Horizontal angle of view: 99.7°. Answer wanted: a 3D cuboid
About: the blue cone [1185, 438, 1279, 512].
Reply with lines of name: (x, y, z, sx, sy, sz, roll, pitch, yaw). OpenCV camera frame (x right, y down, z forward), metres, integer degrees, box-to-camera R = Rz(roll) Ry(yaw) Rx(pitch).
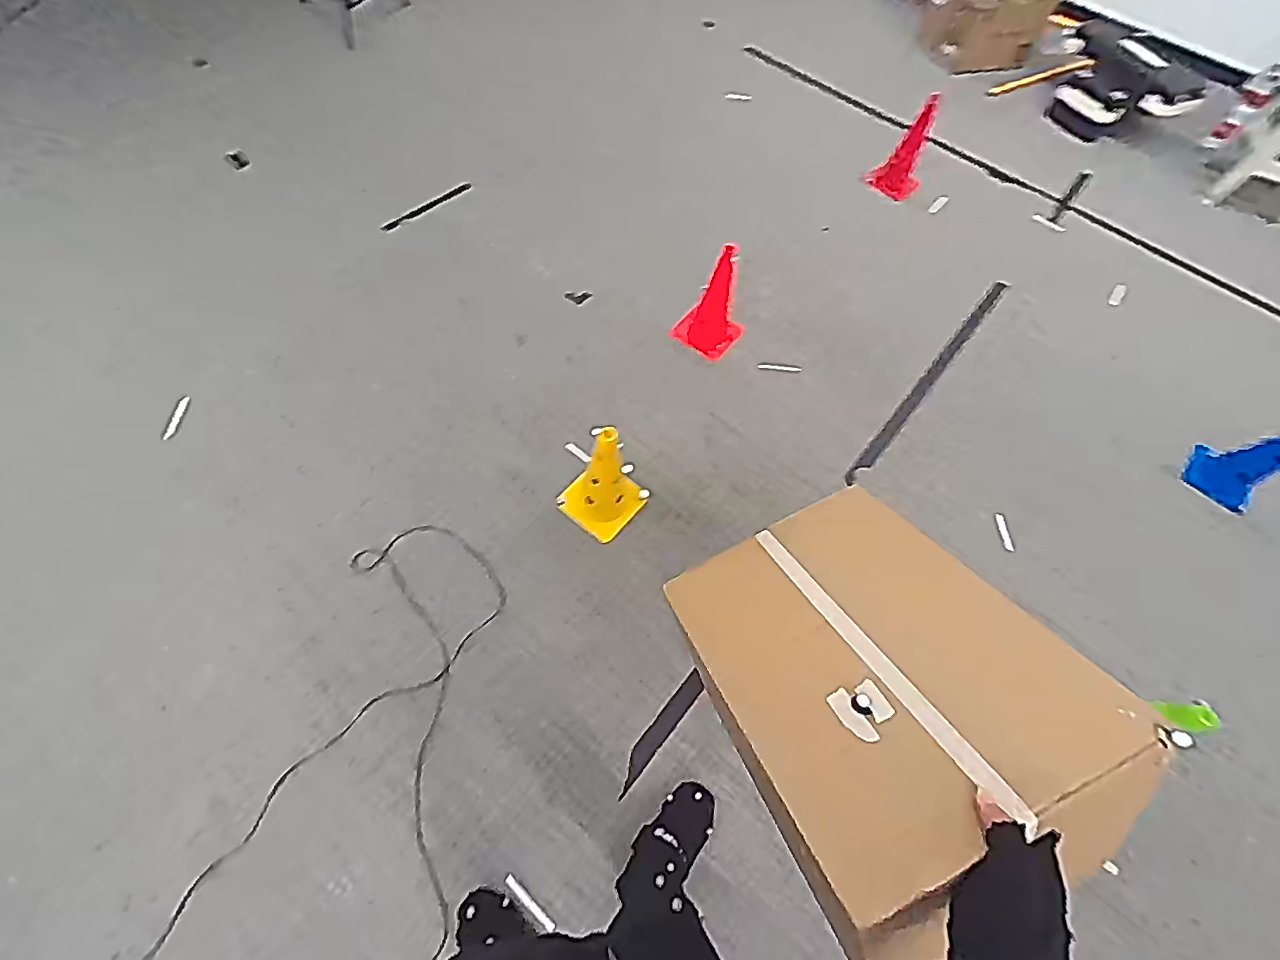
blue cone: (1.953, -0.079, 1.665, 0.192, 0.380, 0.193, 42, 67, 14)

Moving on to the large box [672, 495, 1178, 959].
large box: (0.286, 0.293, 0.675, 0.320, 0.320, 0.408, -26, 37, -5)

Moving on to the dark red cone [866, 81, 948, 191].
dark red cone: (1.133, -1.421, 2.229, 0.202, 0.394, 0.201, -40, 74, -22)

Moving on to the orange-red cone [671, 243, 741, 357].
orange-red cone: (0.244, -0.604, 1.747, 0.198, 0.360, 0.199, 36, 66, 13)
